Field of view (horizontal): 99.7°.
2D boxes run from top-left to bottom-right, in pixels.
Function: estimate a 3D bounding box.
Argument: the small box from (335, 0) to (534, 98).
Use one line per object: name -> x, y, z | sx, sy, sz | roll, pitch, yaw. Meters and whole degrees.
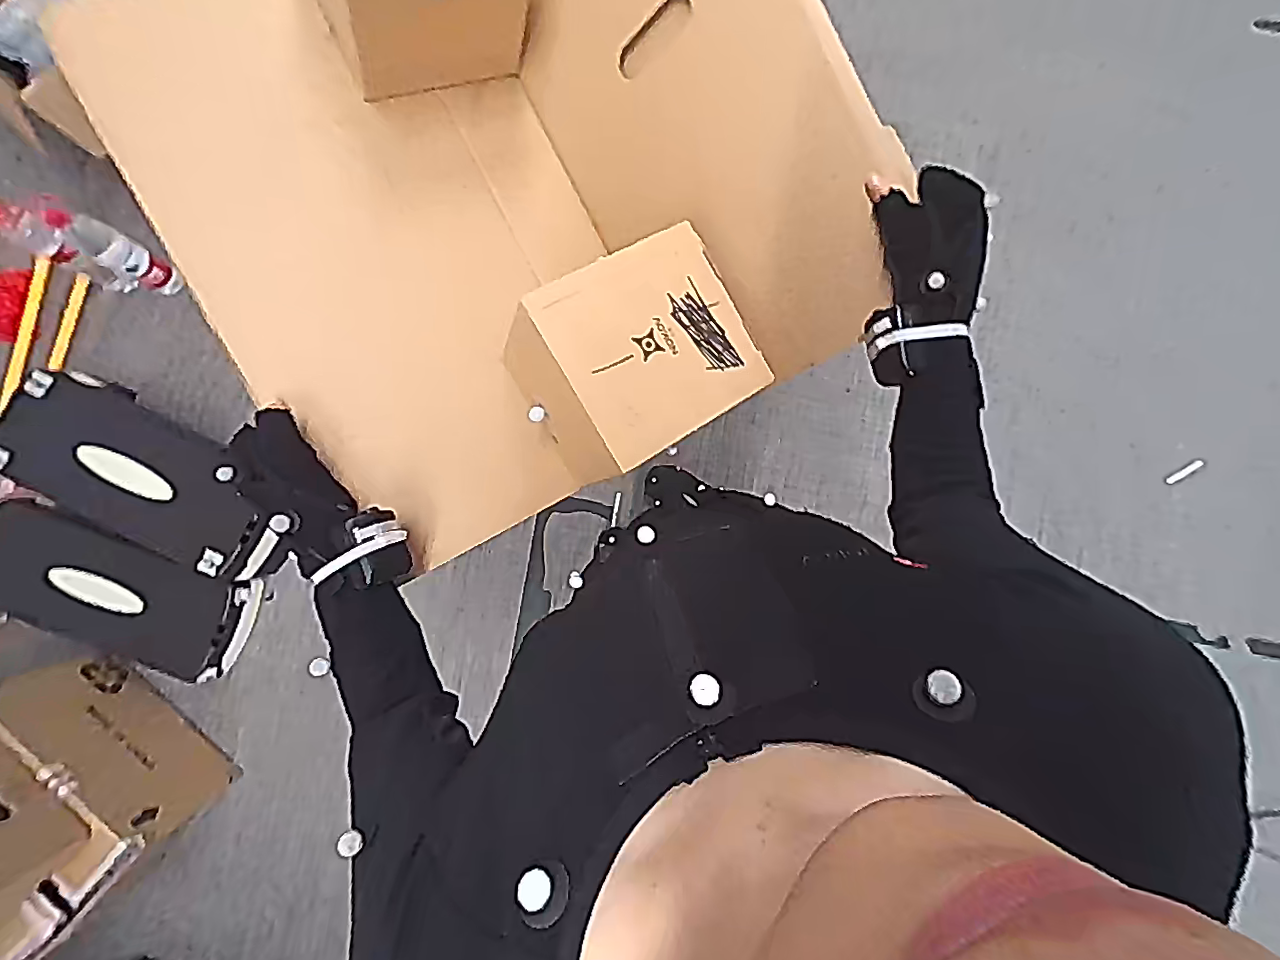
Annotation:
small box -> -0.207, -0.505, 0.514 | 0.179, 0.176, 0.168 | -25, 93, -20
